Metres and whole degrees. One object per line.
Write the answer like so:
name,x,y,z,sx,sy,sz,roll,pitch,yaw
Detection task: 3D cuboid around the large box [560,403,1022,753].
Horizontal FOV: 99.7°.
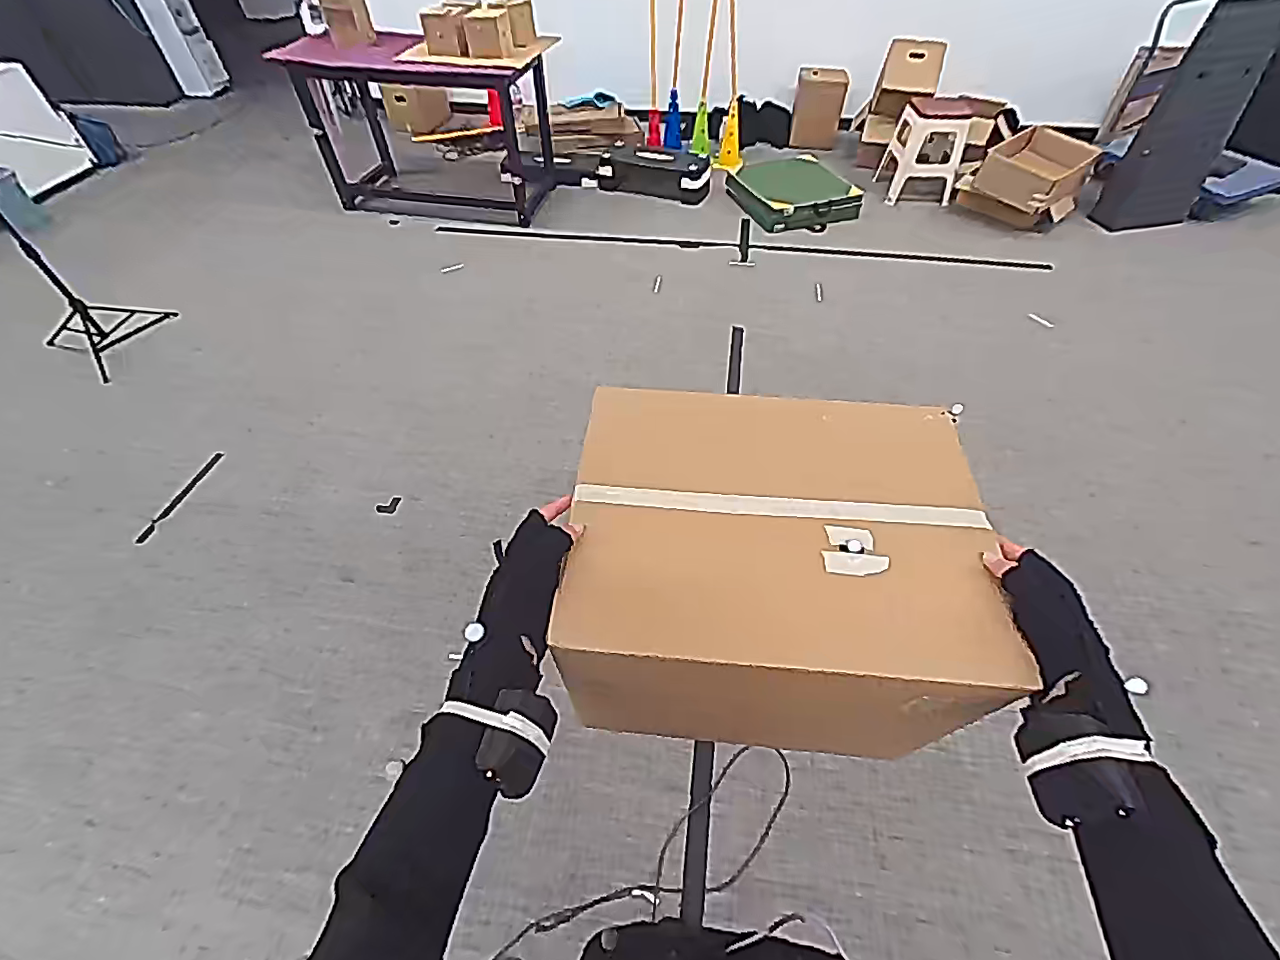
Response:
large box,0.135,0.128,0.668,0.408,0.320,0.320,4,54,3
